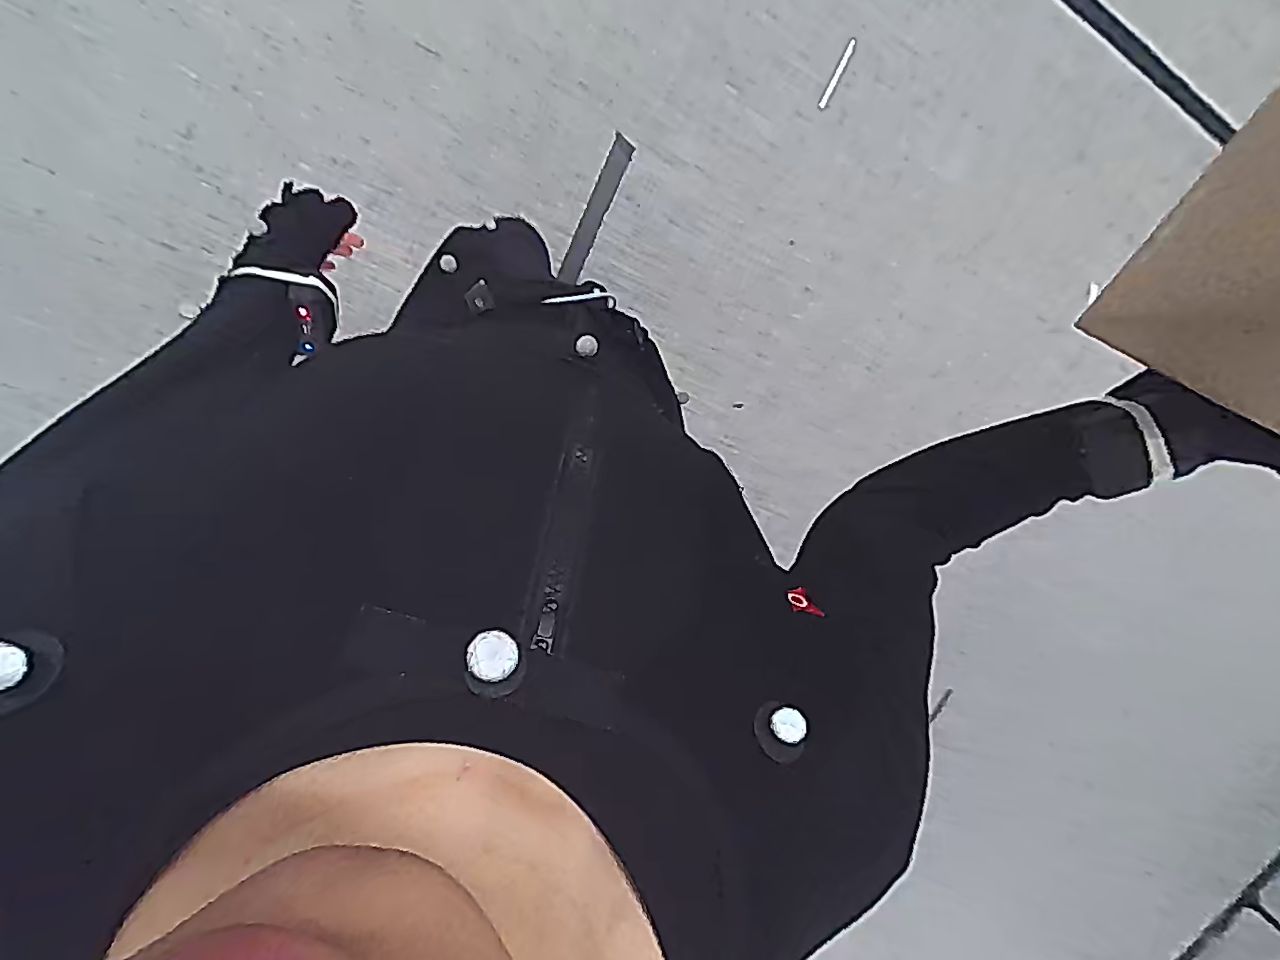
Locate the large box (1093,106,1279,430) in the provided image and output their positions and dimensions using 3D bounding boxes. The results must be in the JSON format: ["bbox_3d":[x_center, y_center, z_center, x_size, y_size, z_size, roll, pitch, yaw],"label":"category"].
[{"bbox_3d":[0.394,-0.089,0.110,0.320,0.408,0.320,38,123,16],"label":"large box"}]
